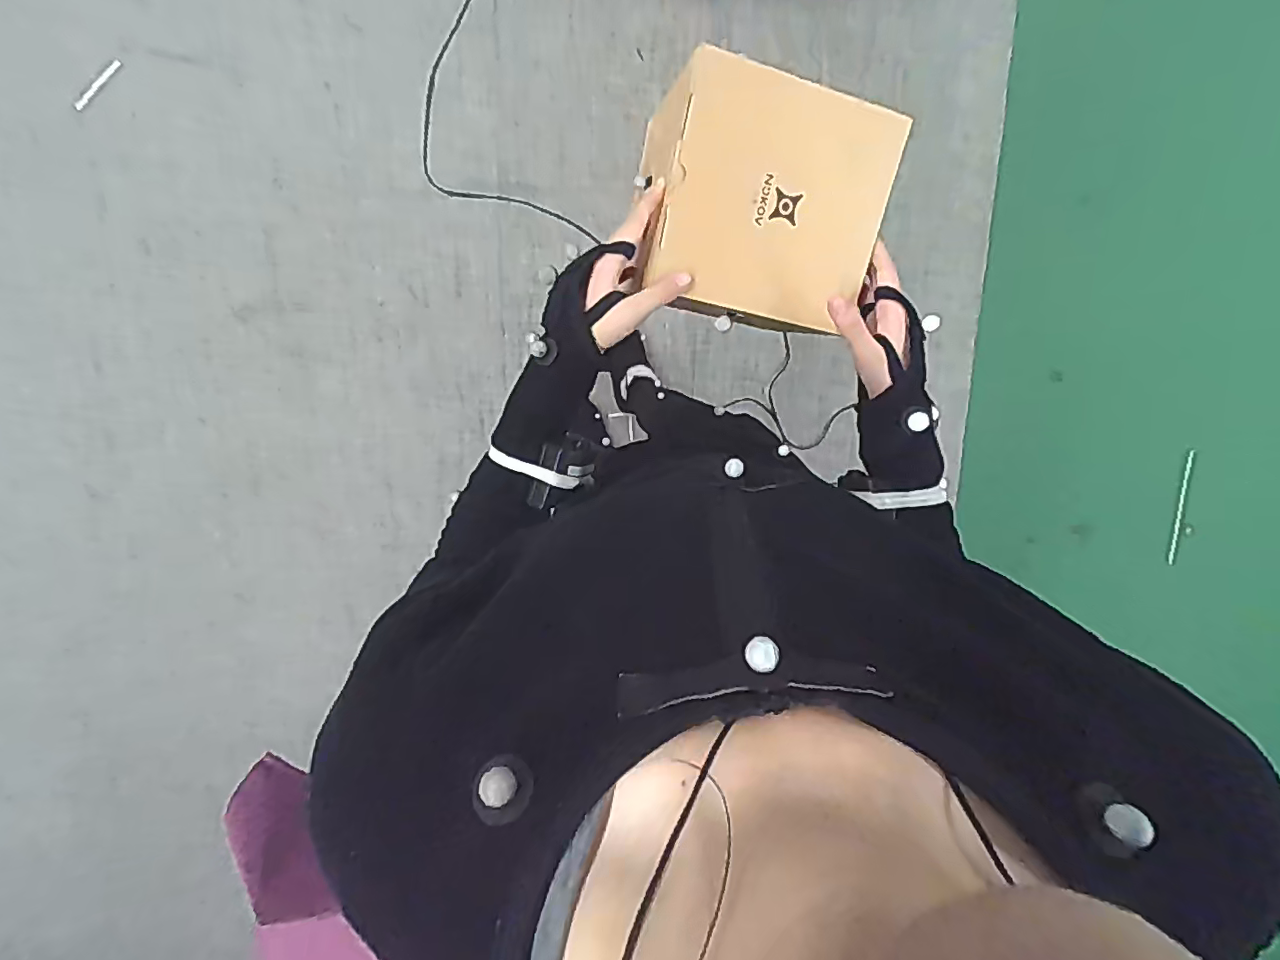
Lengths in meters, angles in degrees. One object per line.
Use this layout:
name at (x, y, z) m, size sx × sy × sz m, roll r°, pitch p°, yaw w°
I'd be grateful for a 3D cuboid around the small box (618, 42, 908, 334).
small box at (0.090, -0.234, 0.484) m, size 0.179 × 0.176 × 0.168 m, roll 9°, pitch 104°, yaw -13°
